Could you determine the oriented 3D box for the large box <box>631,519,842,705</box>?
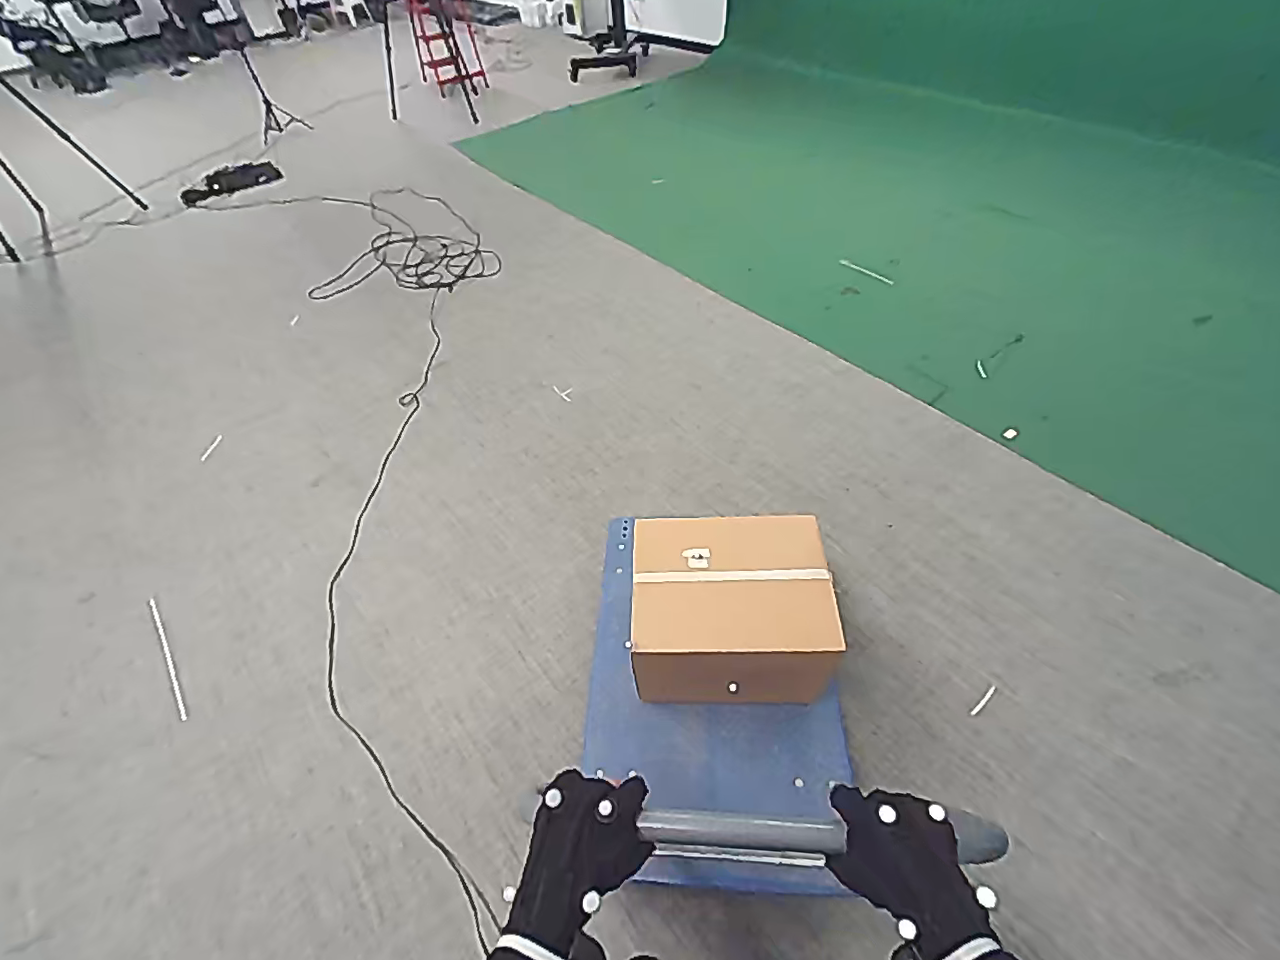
[{"bbox_3d":[0.195,0.308,1.229,0.408,0.320,0.320,-2,50,4],"label":"large box"}]
